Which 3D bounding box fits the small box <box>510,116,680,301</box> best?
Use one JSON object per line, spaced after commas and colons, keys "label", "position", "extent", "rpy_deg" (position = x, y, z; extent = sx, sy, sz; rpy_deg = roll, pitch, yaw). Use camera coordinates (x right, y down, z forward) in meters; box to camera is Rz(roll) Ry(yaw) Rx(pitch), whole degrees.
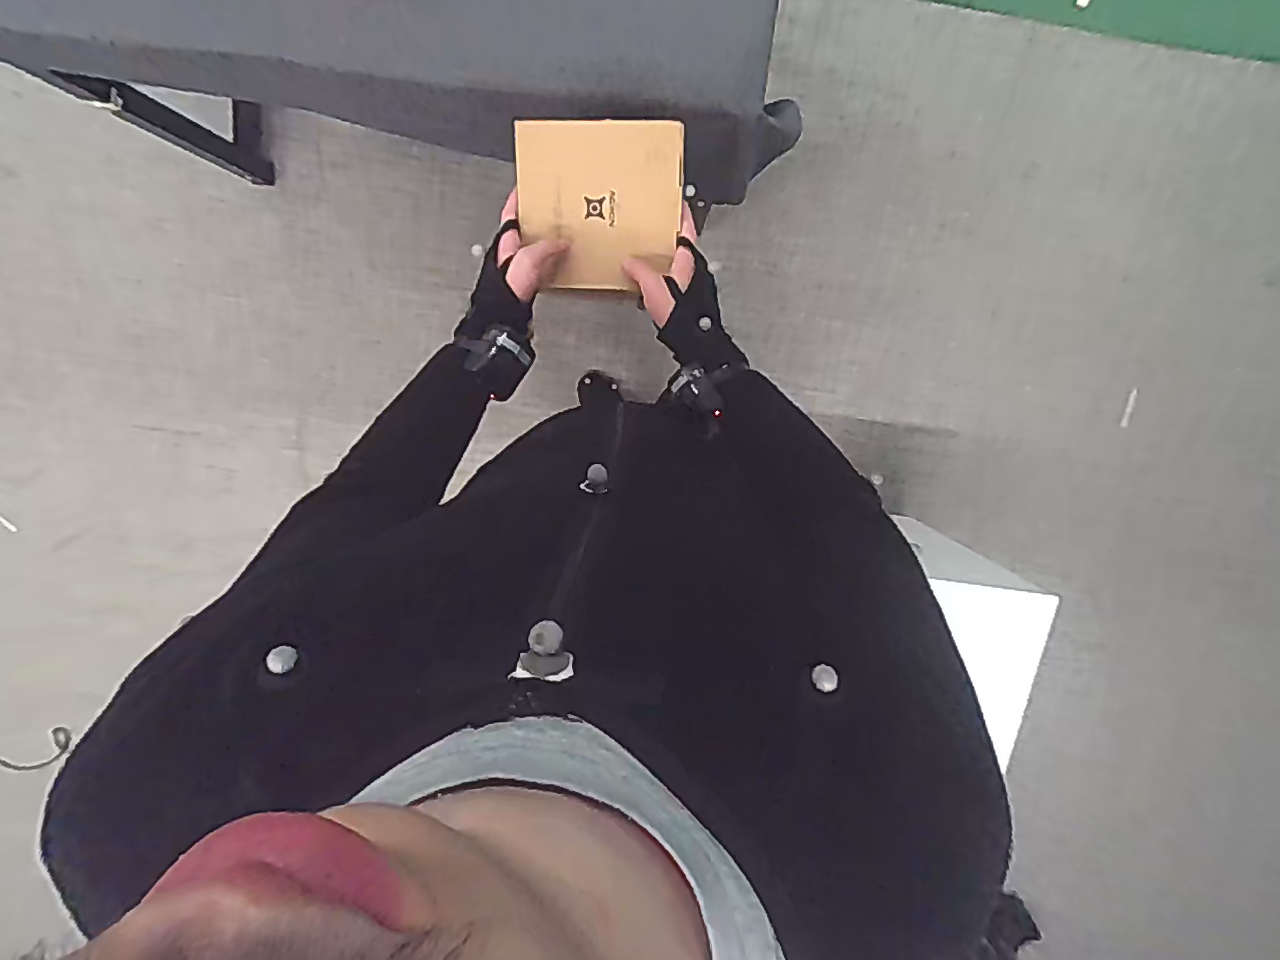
{"label": "small box", "position": [-0.042, -0.307, 0.641], "extent": [0.179, 0.176, 0.168], "rpy_deg": [2, 104, 5]}
